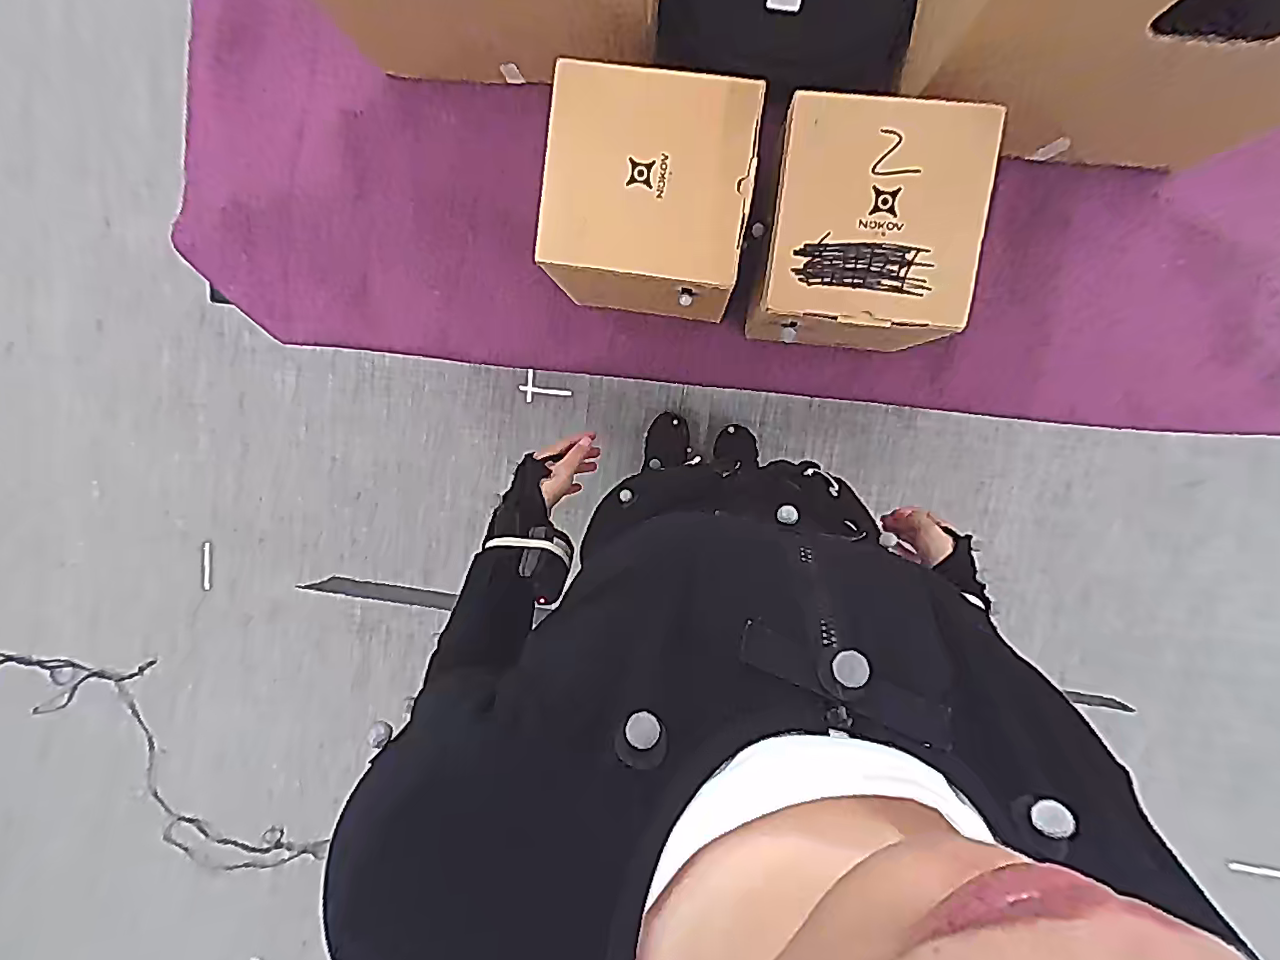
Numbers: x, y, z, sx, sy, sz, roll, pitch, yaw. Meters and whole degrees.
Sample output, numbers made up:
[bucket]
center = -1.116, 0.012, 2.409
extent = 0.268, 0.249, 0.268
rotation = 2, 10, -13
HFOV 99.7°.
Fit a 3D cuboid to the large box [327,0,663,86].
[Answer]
[large box]
center = -0.129, -0.615, 0.425
extent = 0.320, 0.320, 0.408
rotation = 5, 100, 4
